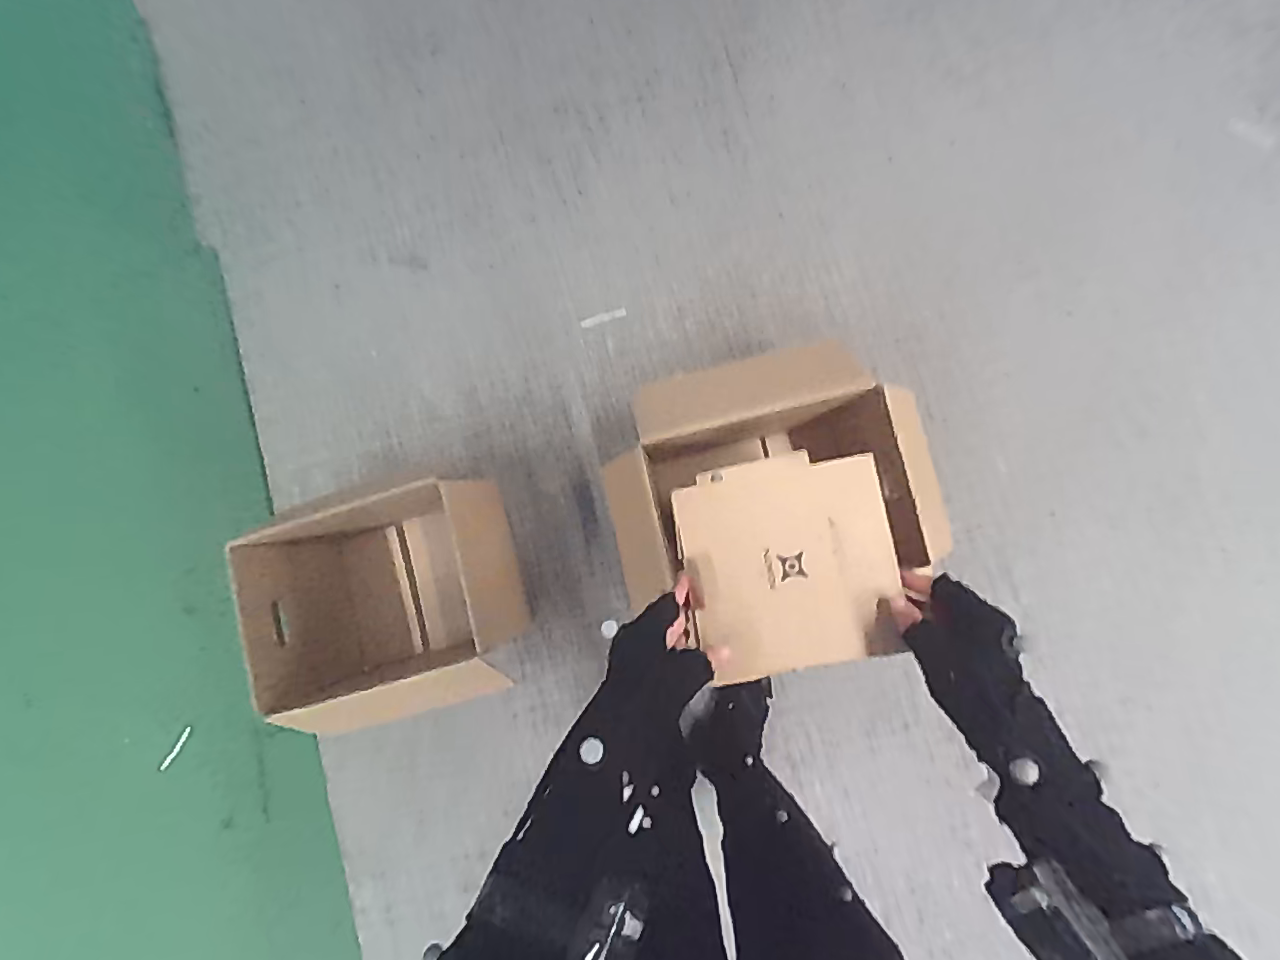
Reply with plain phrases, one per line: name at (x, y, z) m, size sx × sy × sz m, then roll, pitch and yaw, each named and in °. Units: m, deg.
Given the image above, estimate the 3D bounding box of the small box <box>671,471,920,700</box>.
small box at (0.136, 0.097, 0.529) m, size 0.179 × 0.176 × 0.168 m, roll -12°, pitch 83°, yaw 5°
